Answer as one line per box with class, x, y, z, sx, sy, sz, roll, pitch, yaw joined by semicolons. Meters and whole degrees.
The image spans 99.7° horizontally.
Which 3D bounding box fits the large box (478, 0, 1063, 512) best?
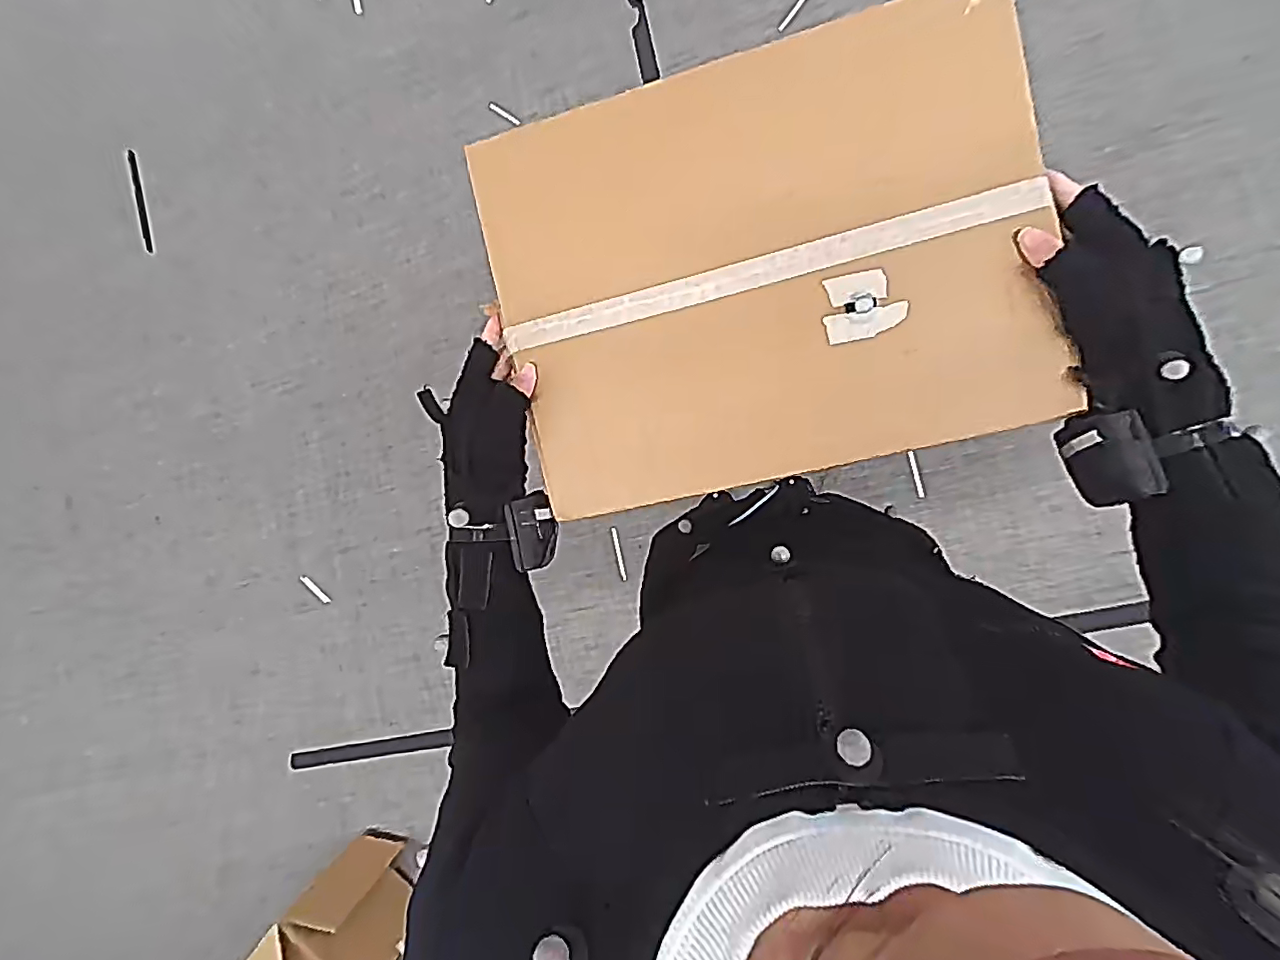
large box;0.108;-0.176;0.570;0.408;0.320;0.320;-13;94;9
